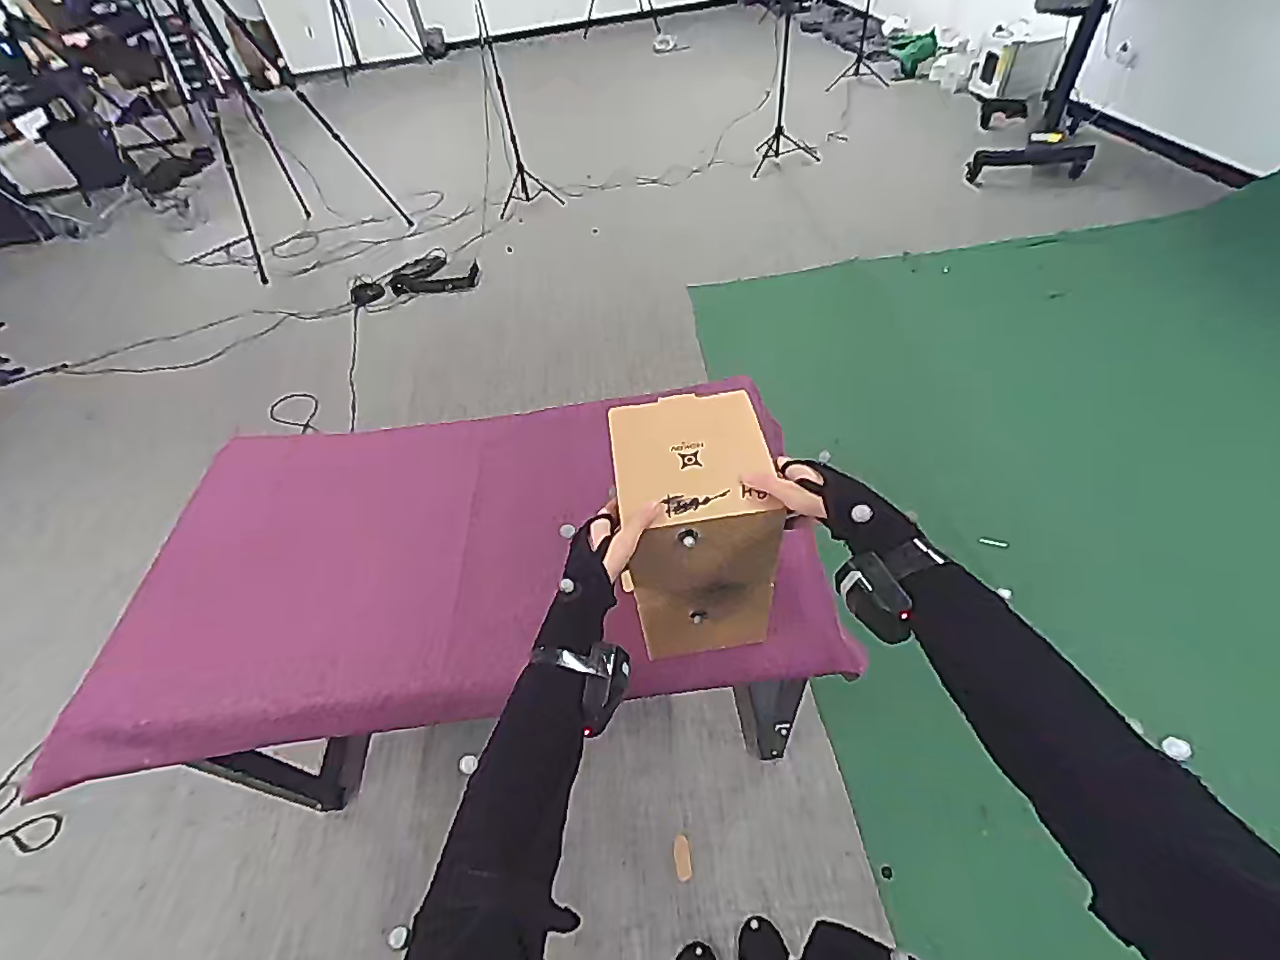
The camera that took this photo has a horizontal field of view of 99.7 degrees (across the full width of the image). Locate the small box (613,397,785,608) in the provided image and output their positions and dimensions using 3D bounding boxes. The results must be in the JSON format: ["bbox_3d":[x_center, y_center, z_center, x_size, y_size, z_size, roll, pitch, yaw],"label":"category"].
[{"bbox_3d":[0.062,0.029,0.645,0.168,0.176,0.179,-9,50,1],"label":"small box"}]

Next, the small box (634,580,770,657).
[{"bbox_3d":[0.083,0.145,0.800,0.179,0.176,0.168,-9,49,0],"label":"small box"}]
